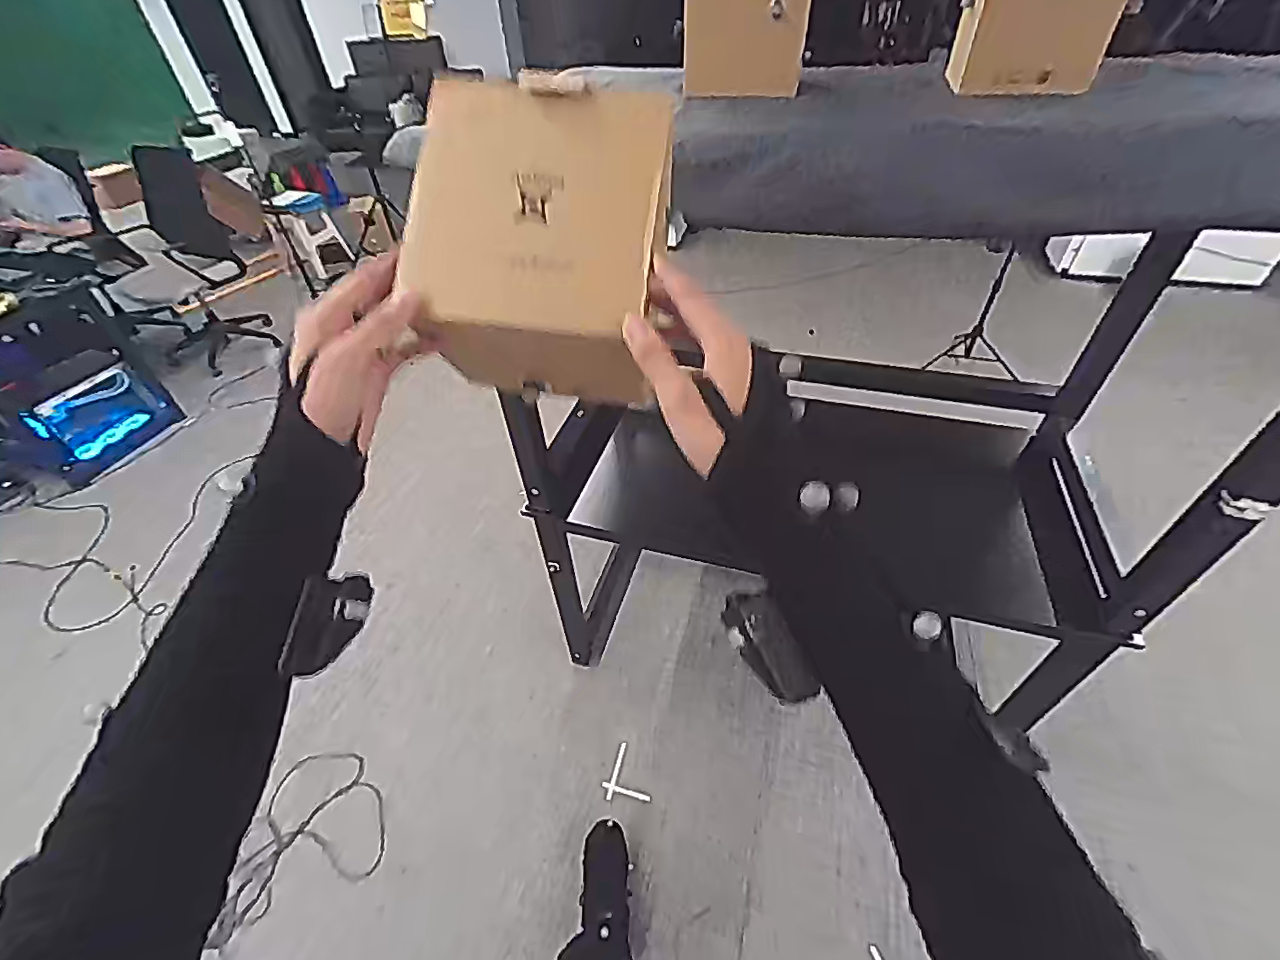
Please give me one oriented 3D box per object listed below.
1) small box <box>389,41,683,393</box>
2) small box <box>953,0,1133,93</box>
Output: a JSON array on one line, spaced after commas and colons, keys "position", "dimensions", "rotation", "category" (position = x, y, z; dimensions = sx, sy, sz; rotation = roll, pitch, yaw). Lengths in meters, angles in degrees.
[{"position": [-0.062, -0.183, 0.420], "dimensions": [0.168, 0.176, 0.179], "rotation": [7, 83, 3], "category": "small box"}, {"position": [0.557, -0.656, 0.751], "dimensions": [0.168, 0.176, 0.179], "rotation": [10, 45, 14], "category": "small box"}]
